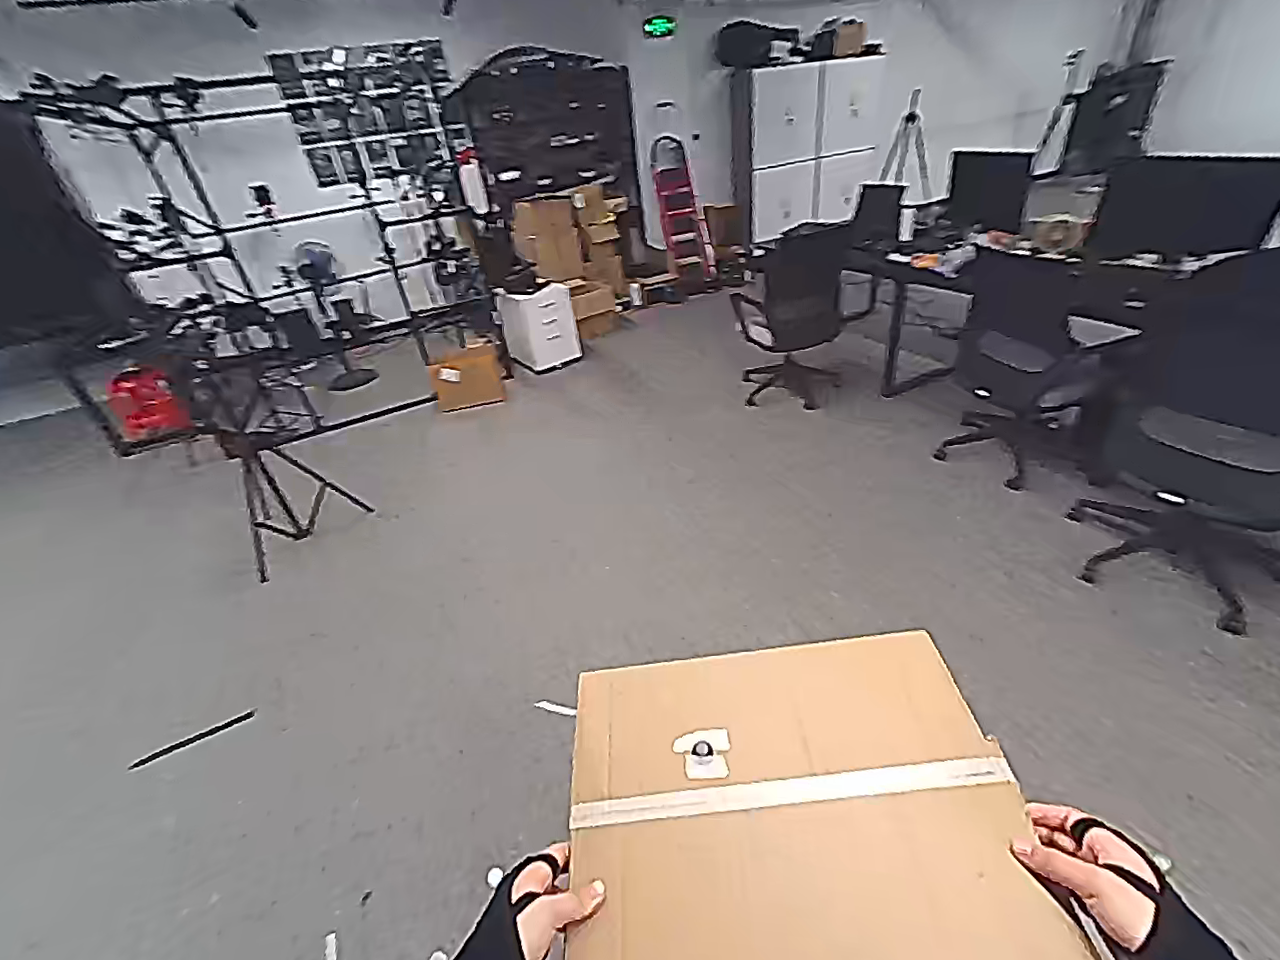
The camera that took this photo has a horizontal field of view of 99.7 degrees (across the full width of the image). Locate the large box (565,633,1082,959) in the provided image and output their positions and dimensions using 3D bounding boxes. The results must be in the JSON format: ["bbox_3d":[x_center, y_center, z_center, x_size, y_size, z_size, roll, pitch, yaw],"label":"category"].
[{"bbox_3d":[0.155,0.419,0.612,0.408,0.320,0.320,-10,37,5],"label":"large box"}]
